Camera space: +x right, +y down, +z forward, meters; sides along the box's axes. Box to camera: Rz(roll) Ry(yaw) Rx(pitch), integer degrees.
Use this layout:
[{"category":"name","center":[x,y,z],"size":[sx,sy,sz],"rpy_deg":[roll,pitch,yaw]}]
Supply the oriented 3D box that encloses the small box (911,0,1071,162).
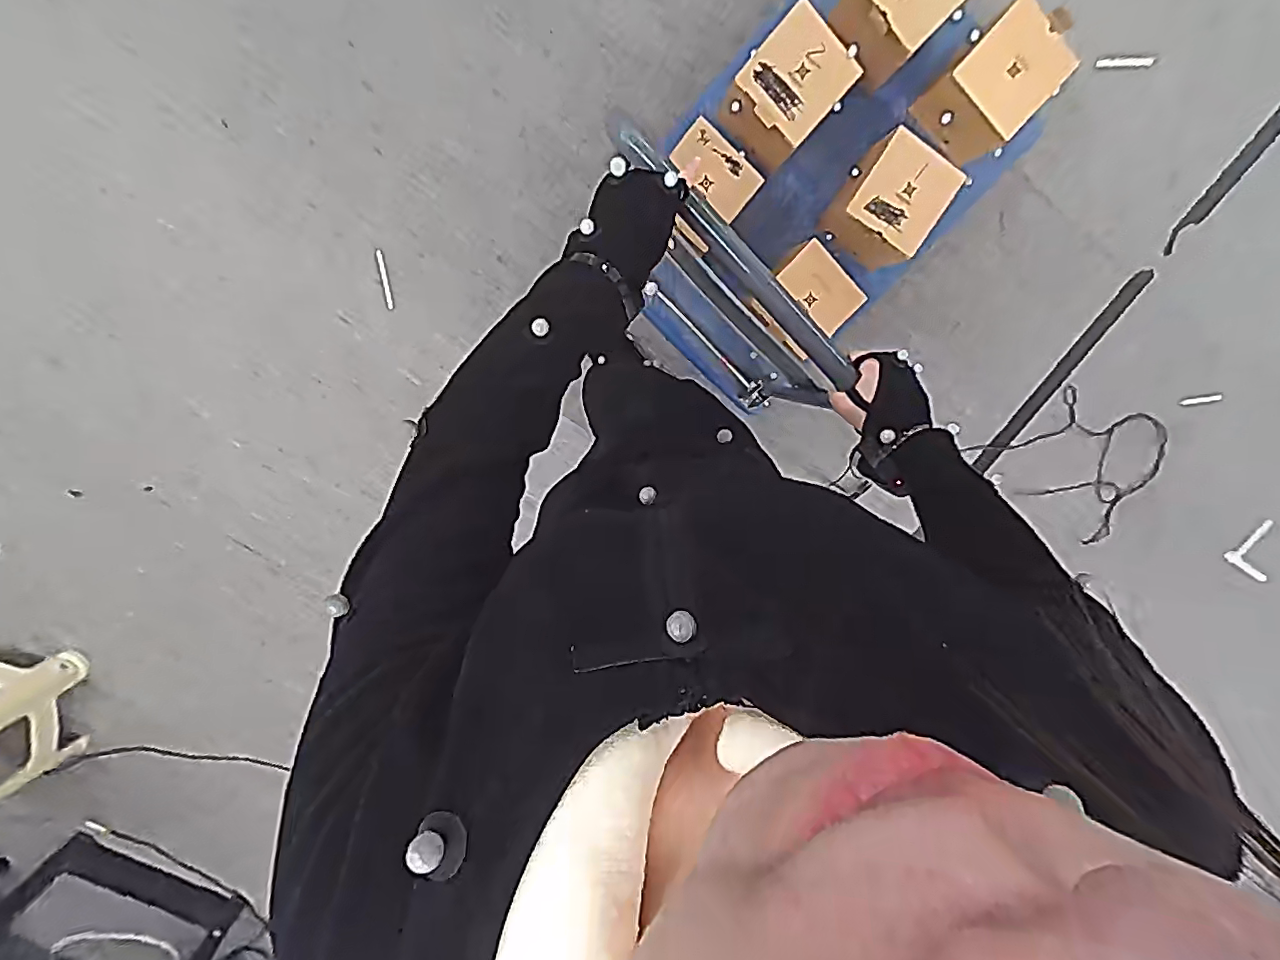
[{"category":"small box","center":[0.672,-0.772,1.065],"size":[0.168,0.176,0.179],"rpy_deg":[40,100,-11]}]

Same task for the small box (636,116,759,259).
[{"category":"small box","center":[0.108,-0.573,1.090],"size":[0.168,0.176,0.179],"rpy_deg":[39,100,-13]}]

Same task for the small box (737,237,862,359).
[{"category":"small box","center":[0.326,-0.380,1.154],"size":[0.168,0.176,0.179],"rpy_deg":[43,98,-13]}]

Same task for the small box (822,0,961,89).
[{"category":"small box","center":[0.479,-0.899,1.019],"size":[0.179,0.176,0.168],"rpy_deg":[-43,102,10]}]

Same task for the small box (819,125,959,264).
[{"category":"small box","center":[0.495,-0.569,1.110],"size":[0.168,0.176,0.179],"rpy_deg":[31,101,-10]}]
